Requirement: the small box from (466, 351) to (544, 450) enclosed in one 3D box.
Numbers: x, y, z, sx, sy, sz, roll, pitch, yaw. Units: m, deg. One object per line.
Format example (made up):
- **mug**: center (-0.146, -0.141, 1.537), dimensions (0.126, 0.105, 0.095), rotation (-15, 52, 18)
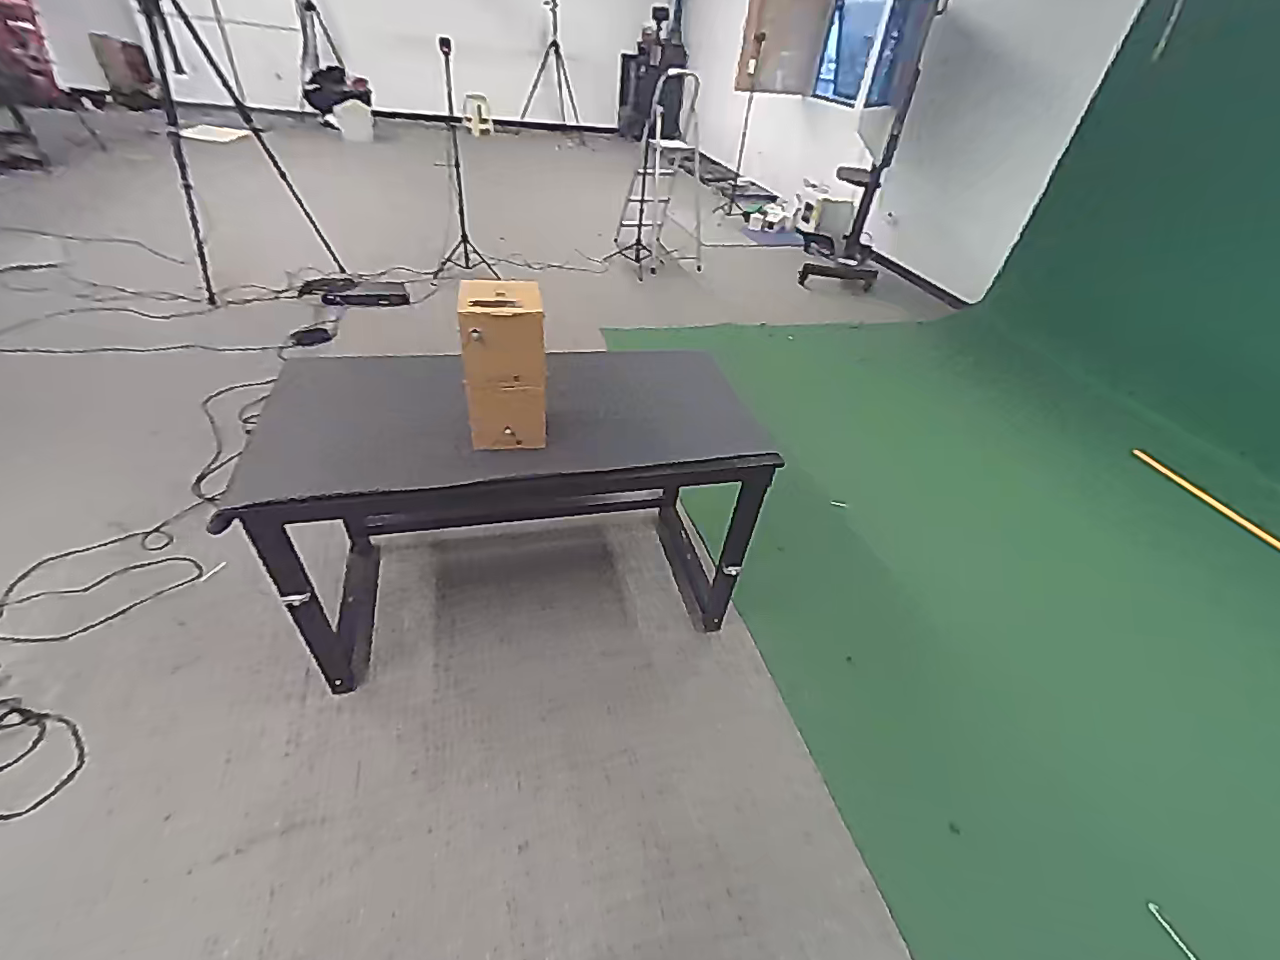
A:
- **small box**: center (-0.312, -0.186, 1.270), dimensions (0.168, 0.176, 0.179), rotation (-2, 40, -11)
